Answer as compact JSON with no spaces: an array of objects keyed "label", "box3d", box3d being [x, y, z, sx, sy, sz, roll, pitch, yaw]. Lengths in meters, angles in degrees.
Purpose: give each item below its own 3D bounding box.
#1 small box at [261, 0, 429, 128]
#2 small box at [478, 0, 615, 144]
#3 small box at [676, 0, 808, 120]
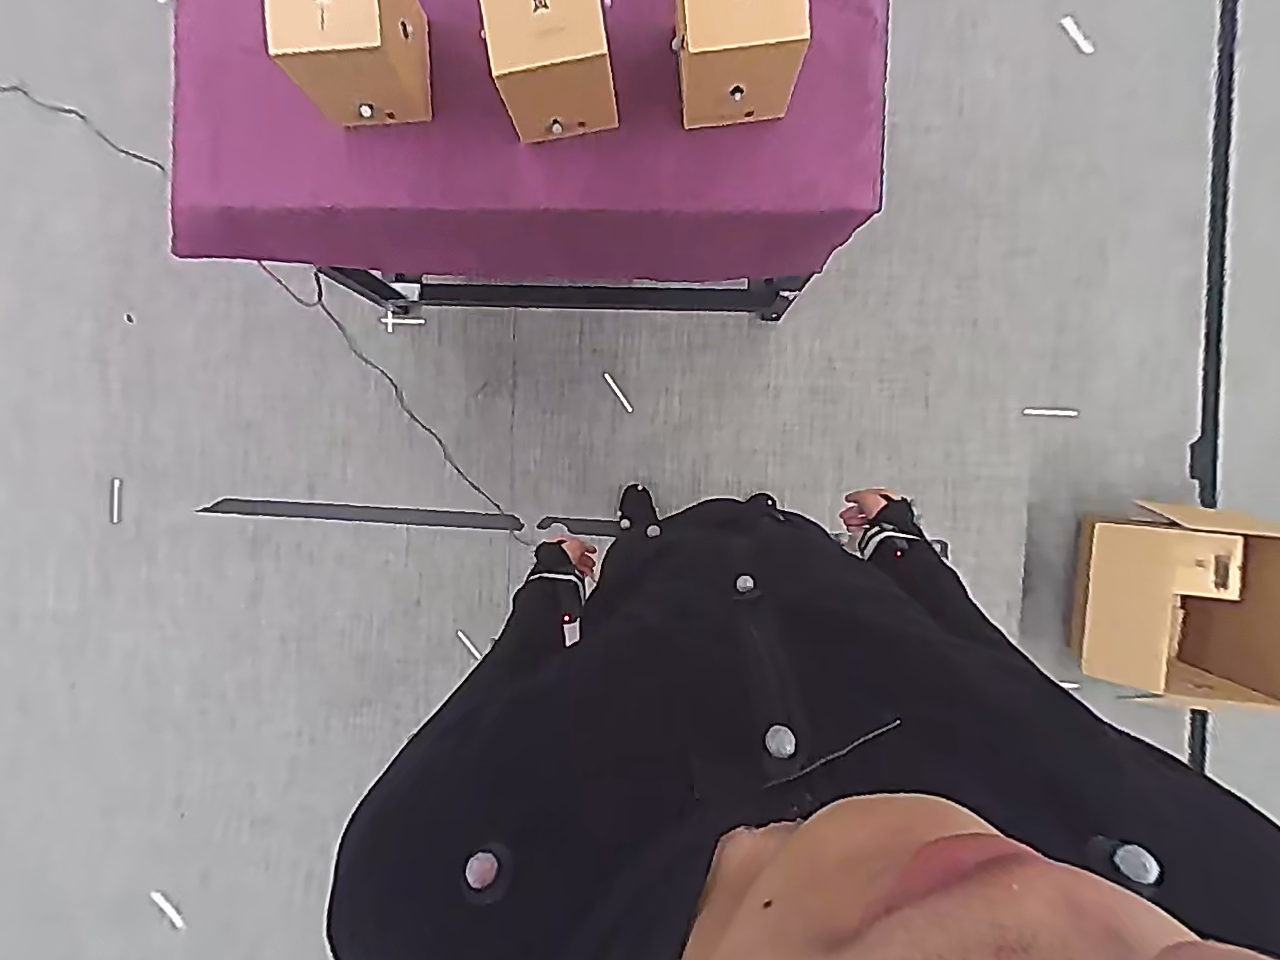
[{"label":"small box","box3d":[-0.440,-0.679,0.826,0.168,0.176,0.179,-2,92,3]},{"label":"small box","box3d":[-0.135,-0.651,0.813,0.168,0.176,0.179,-9,91,4]},{"label":"small box","box3d":[0.141,-0.665,0.797,0.168,0.176,0.179,-5,91,3]}]
